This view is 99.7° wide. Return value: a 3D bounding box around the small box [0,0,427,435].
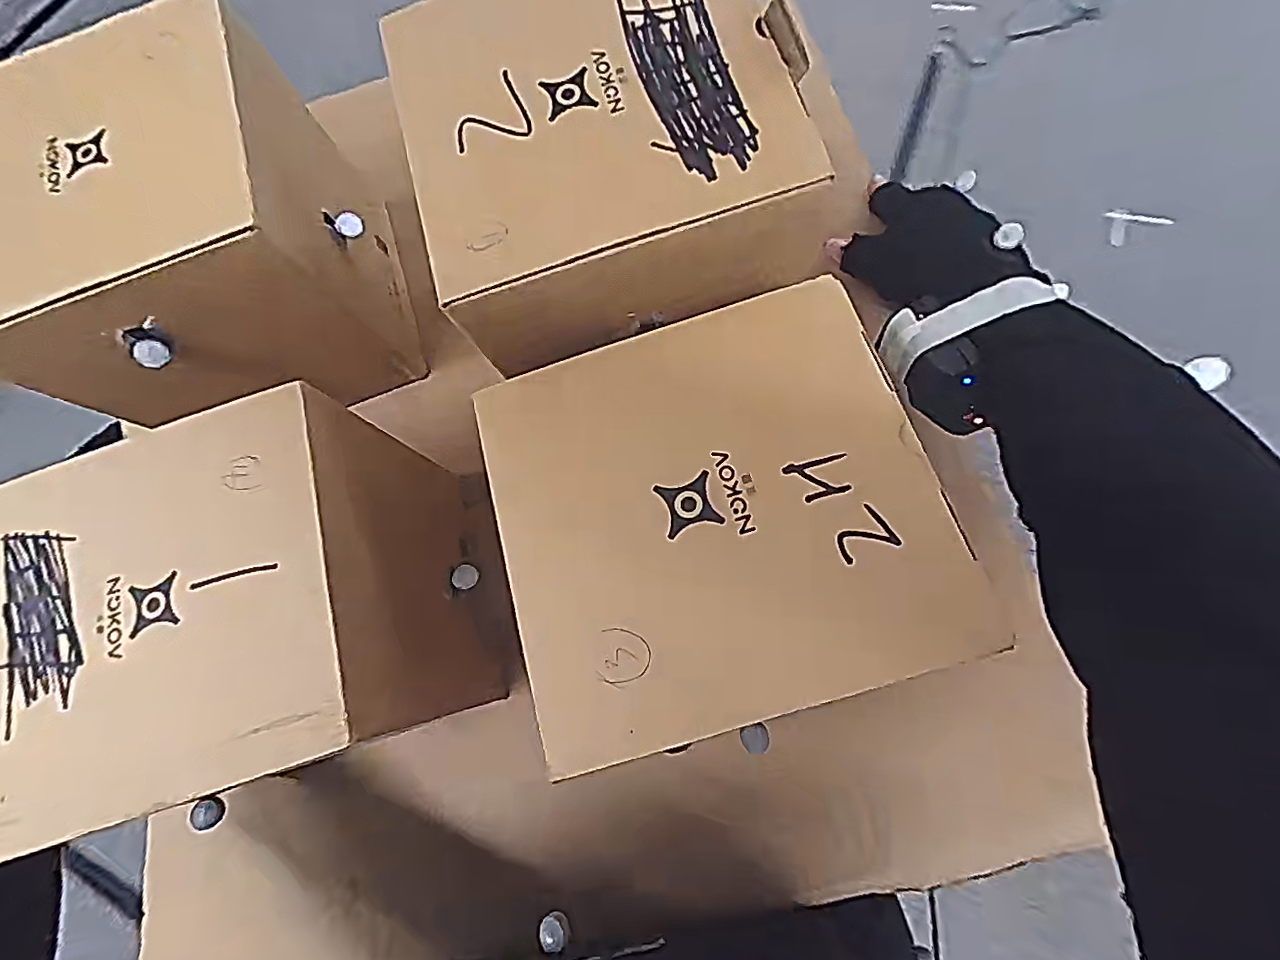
[{"bbox_3d":[-0.264,-0.149,0.360,0.179,0.176,0.168,-19,75,3],"label":"small box"}]
